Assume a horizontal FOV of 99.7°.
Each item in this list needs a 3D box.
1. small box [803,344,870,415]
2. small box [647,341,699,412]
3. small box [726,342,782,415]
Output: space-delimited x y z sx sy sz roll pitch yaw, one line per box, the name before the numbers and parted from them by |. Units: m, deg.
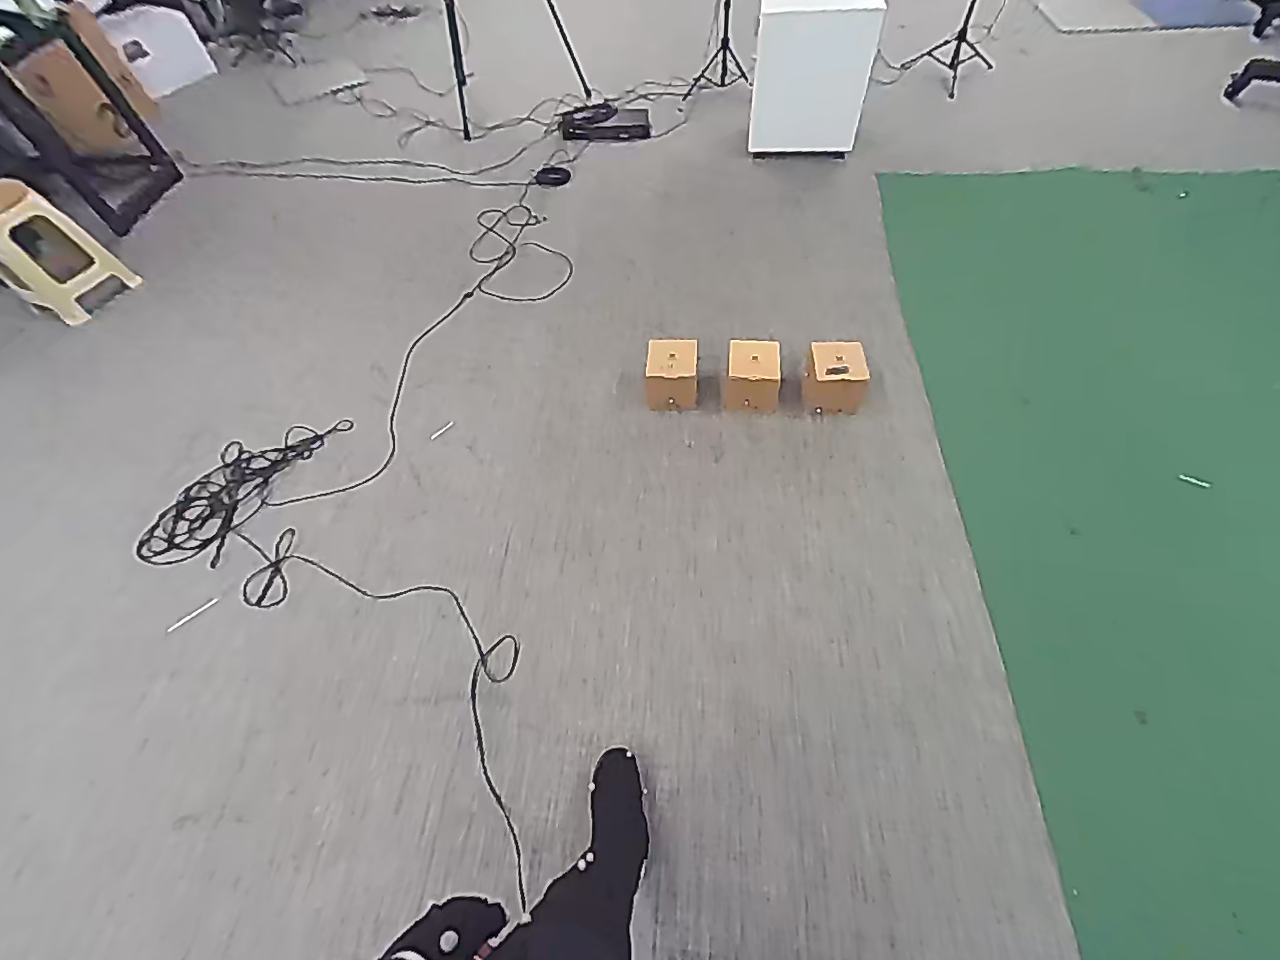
small box | 0.650 -0.332 1.805 0.168 0.176 0.179 1 56 5
small box | 0.115 -0.356 1.856 0.168 0.176 0.179 1 57 6
small box | 0.382 -0.344 1.833 0.168 0.176 0.179 4 57 6
